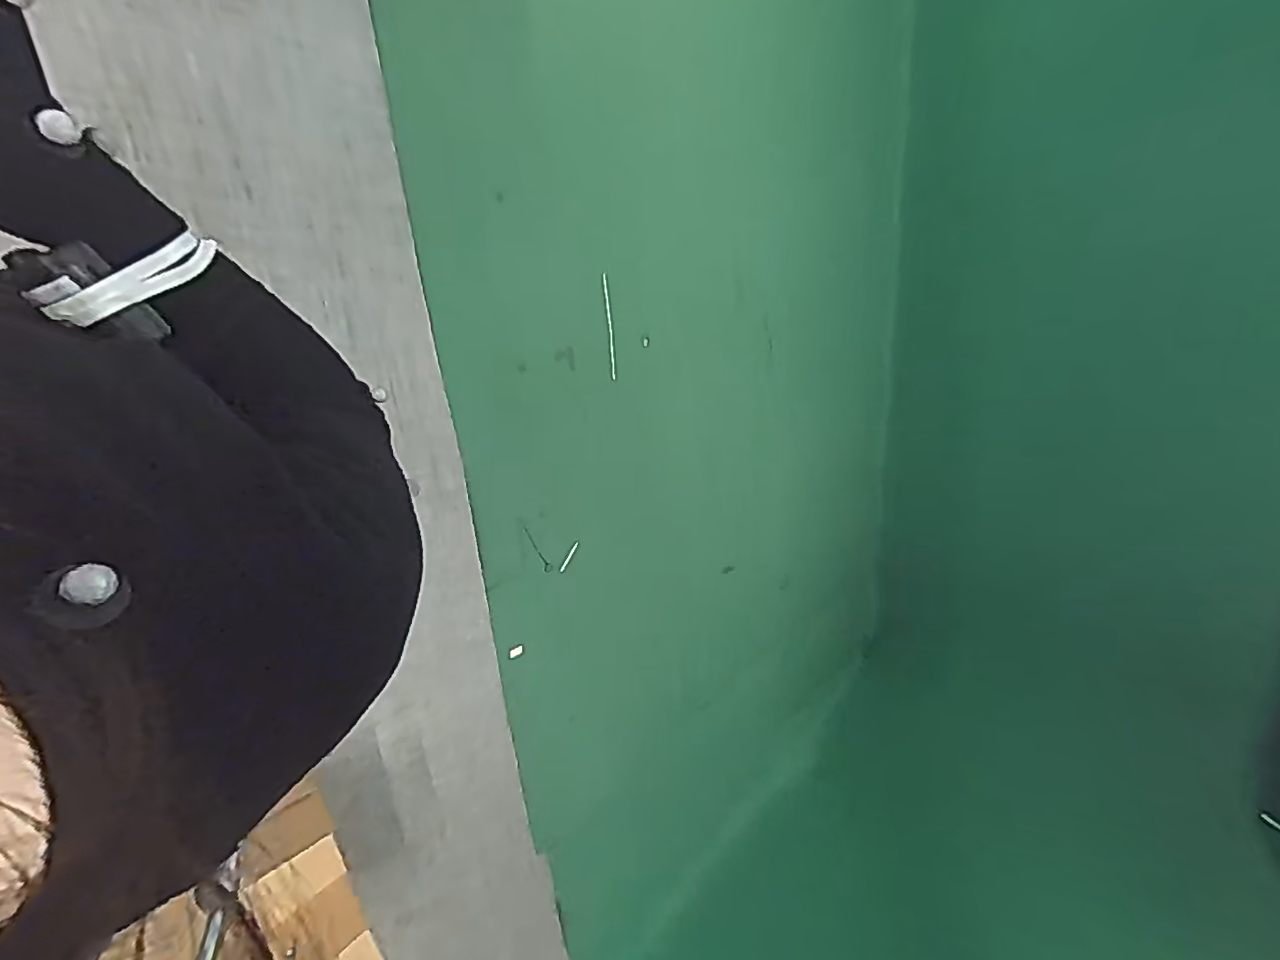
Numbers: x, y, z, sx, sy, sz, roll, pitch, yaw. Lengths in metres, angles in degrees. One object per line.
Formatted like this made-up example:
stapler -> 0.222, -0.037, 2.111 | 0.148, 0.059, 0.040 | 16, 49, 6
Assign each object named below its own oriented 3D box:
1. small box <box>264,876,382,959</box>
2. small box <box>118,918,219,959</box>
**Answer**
small box -> -0.699, 1.040, 1.189 | 0.179, 0.176, 0.168 | -25, 120, -40
small box -> -0.872, 0.972, 0.989 | 0.168, 0.176, 0.179 | -17, 113, -41
